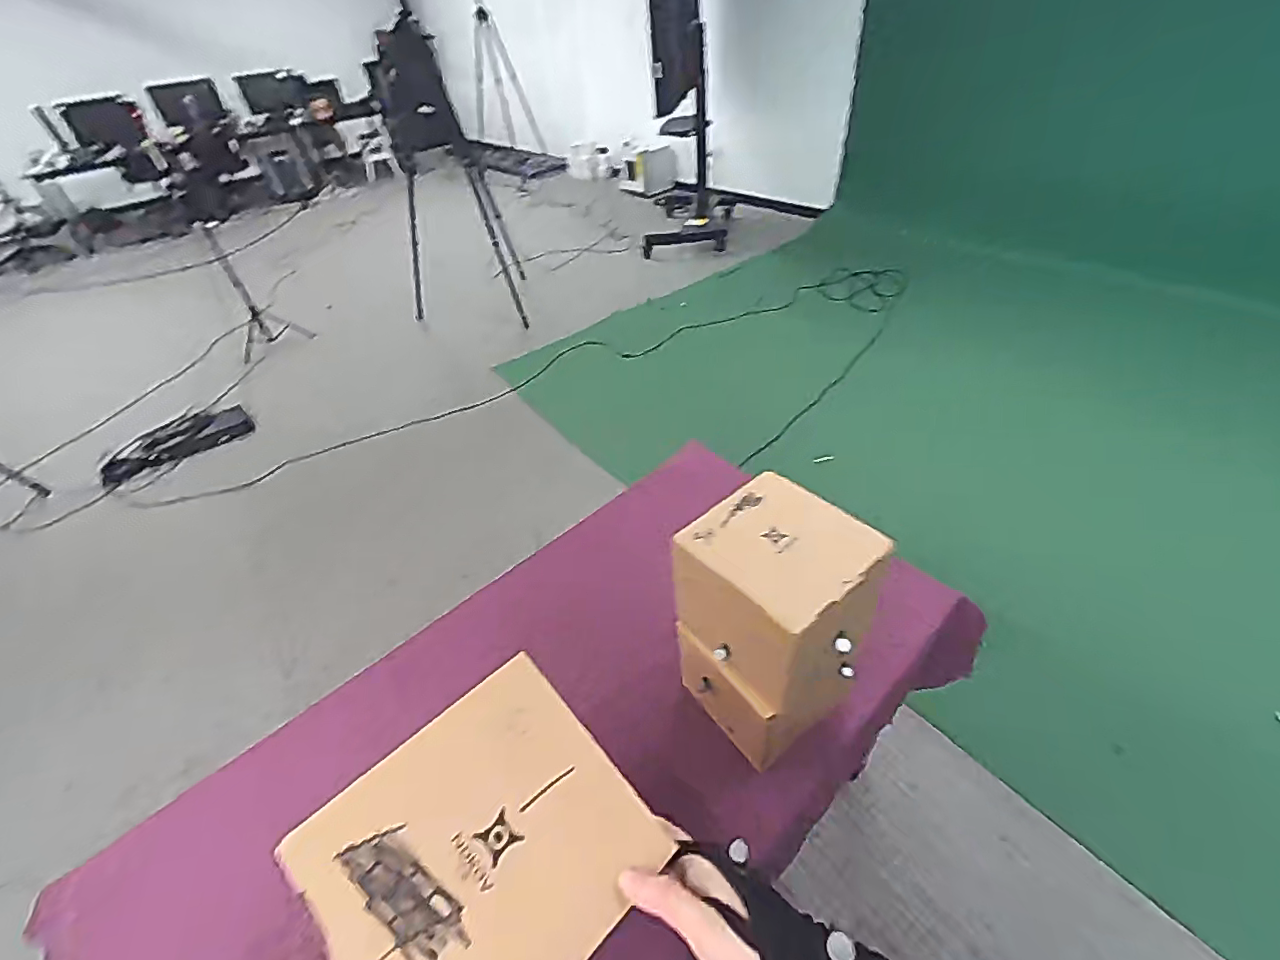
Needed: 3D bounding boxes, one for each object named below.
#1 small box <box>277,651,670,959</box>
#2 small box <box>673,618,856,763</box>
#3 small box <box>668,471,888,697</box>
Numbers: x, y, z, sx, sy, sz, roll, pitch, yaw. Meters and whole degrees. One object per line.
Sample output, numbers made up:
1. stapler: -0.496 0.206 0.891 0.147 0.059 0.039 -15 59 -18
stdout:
1. small box: -0.106 0.263 0.389 0.179 0.176 0.168 -34 69 -29
2. small box: 0.167 0.249 0.748 0.179 0.176 0.168 -29 46 -23
3. small box: 0.153 0.126 0.640 0.168 0.176 0.179 -32 48 -25
